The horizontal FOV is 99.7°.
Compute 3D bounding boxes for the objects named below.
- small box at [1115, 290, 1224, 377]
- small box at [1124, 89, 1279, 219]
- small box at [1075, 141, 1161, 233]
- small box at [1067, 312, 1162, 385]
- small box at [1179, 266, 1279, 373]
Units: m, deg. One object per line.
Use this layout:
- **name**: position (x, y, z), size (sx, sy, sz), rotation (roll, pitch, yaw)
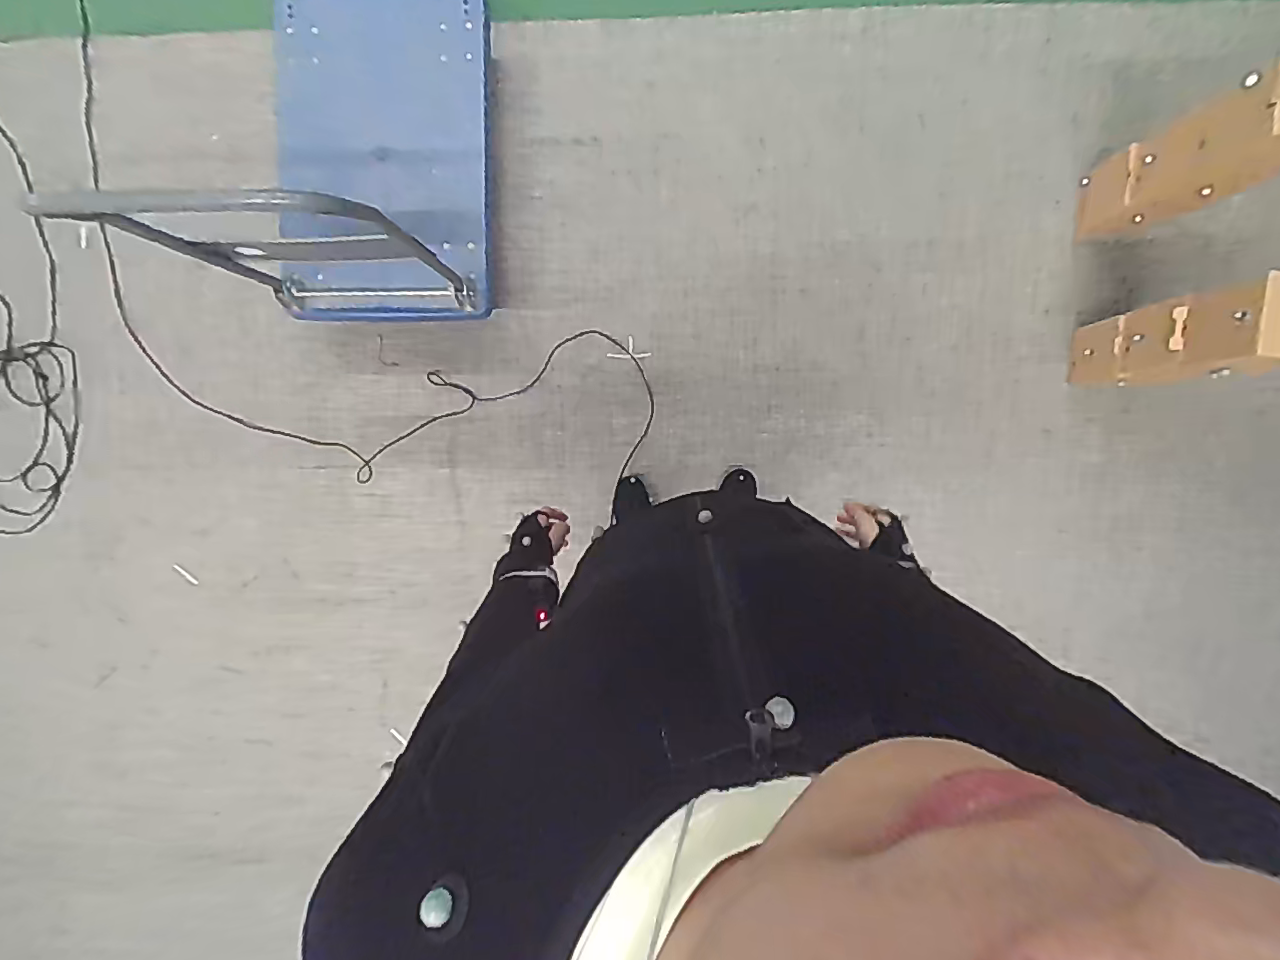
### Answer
- **small box**: position (1.344, -0.354, 1.339), size (0.179, 0.176, 0.168), rotation (7, 92, 1)
- **small box**: position (1.366, -0.793, 1.332), size (0.168, 0.176, 0.179), rotation (37, 92, 2)
- **small box**: position (1.350, -0.797, 1.487), size (0.179, 0.176, 0.168), rotation (5, 93, 0)
- **small box**: position (1.338, -0.360, 1.503), size (0.179, 0.176, 0.168), rotation (3, 93, 2)
- **small box**: position (1.339, -0.341, 1.176), size (0.168, 0.176, 0.179), rotation (7, 92, 2)
